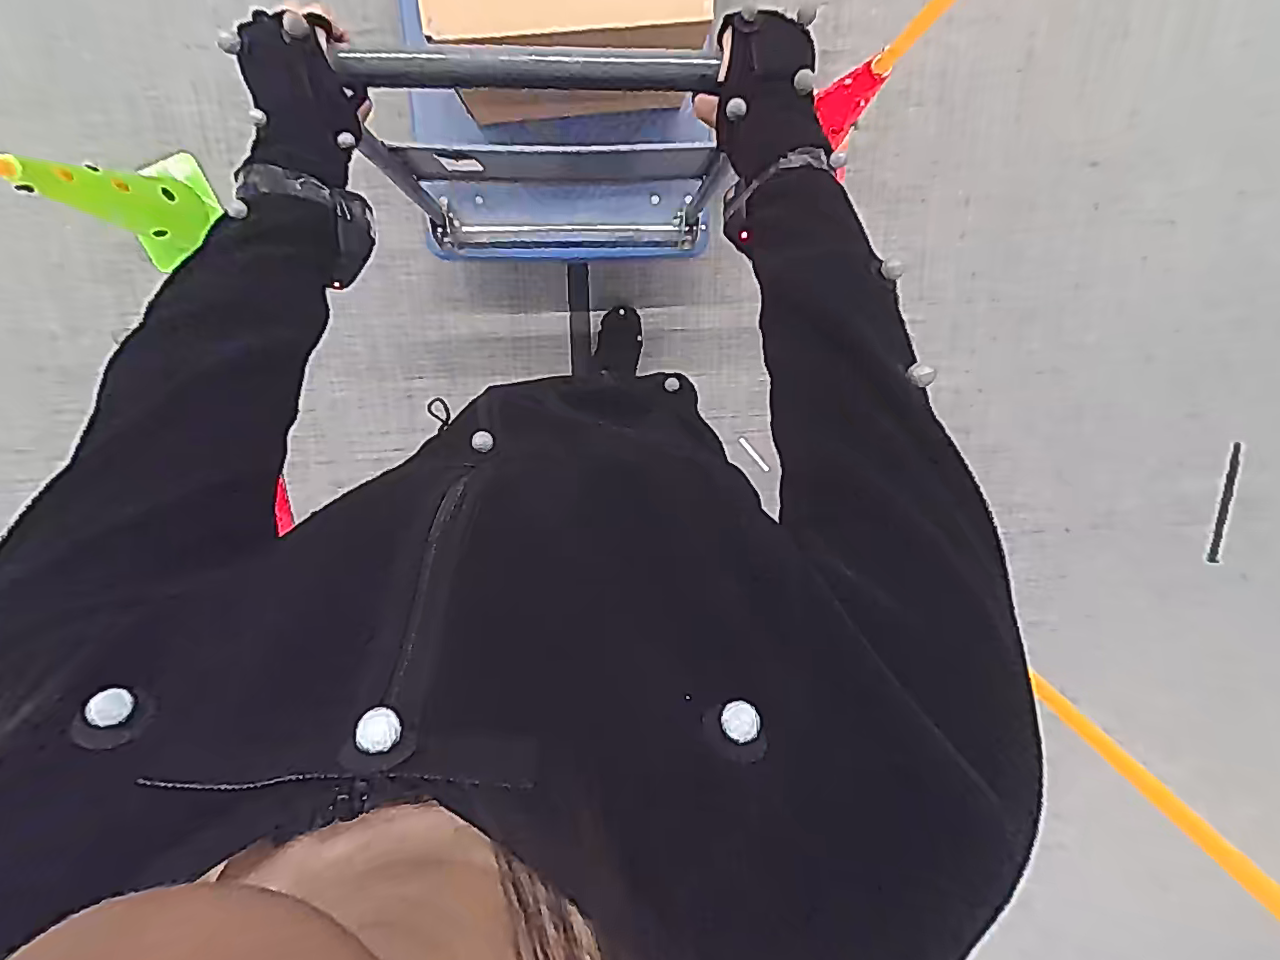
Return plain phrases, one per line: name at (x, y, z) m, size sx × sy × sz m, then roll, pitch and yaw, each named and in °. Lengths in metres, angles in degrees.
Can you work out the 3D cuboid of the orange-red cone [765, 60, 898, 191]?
orange-red cone at (0.409, -0.738, 1.082) m, size 0.199 × 0.360 × 0.198 m, roll 4°, pitch 105°, yaw -6°
